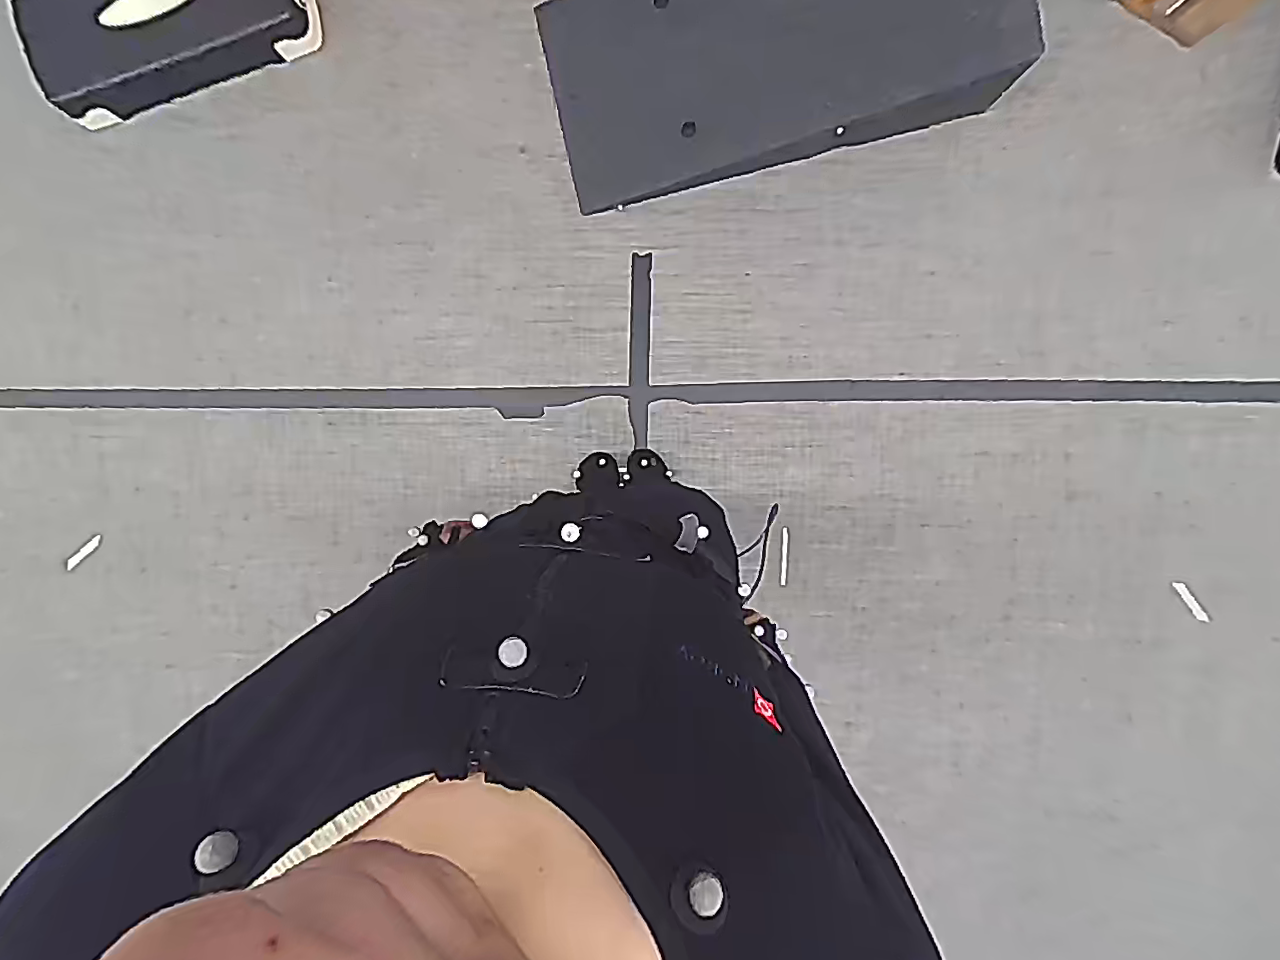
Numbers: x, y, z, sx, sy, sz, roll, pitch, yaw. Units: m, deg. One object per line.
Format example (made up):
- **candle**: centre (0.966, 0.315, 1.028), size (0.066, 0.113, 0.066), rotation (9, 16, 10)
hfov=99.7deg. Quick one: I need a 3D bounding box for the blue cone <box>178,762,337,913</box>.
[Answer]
- **blue cone**: centre (-0.933, 0.879, 1.319), size (0.192, 0.380, 0.193), rotation (2, 95, 4)
